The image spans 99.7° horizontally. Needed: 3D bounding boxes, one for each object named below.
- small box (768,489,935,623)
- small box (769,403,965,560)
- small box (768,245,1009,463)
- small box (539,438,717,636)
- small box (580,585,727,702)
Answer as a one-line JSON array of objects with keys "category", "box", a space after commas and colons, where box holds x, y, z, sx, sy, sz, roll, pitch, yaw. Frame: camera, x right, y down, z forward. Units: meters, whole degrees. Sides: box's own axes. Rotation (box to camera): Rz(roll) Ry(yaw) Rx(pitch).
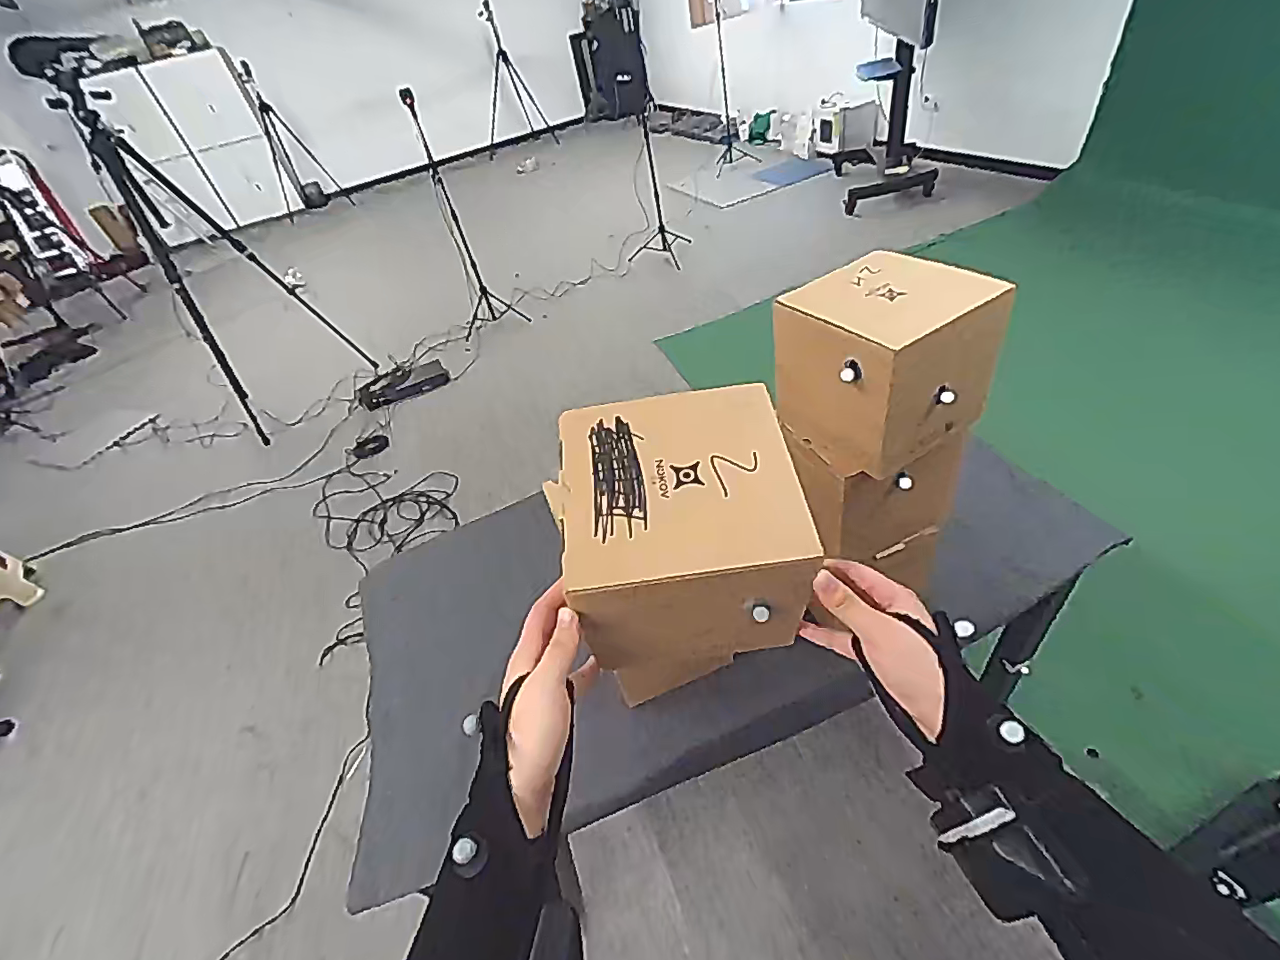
[{"category": "small box", "box": [0.319, 0.098, 0.841, 0.168, 0.176, 0.179, -22, 42, -6]}, {"category": "small box", "box": [0.294, -0.024, 0.736, 0.179, 0.176, 0.168, -24, 42, -8]}, {"category": "small box", "box": [0.270, -0.142, 0.622, 0.168, 0.176, 0.179, -29, 42, -14]}, {"category": "small box", "box": [-0.013, 0.080, 0.717, 0.168, 0.176, 0.179, -24, 40, -10]}, {"category": "small box", "box": [0.021, 0.201, 0.823, 0.179, 0.176, 0.168, -23, 41, -7]}]
